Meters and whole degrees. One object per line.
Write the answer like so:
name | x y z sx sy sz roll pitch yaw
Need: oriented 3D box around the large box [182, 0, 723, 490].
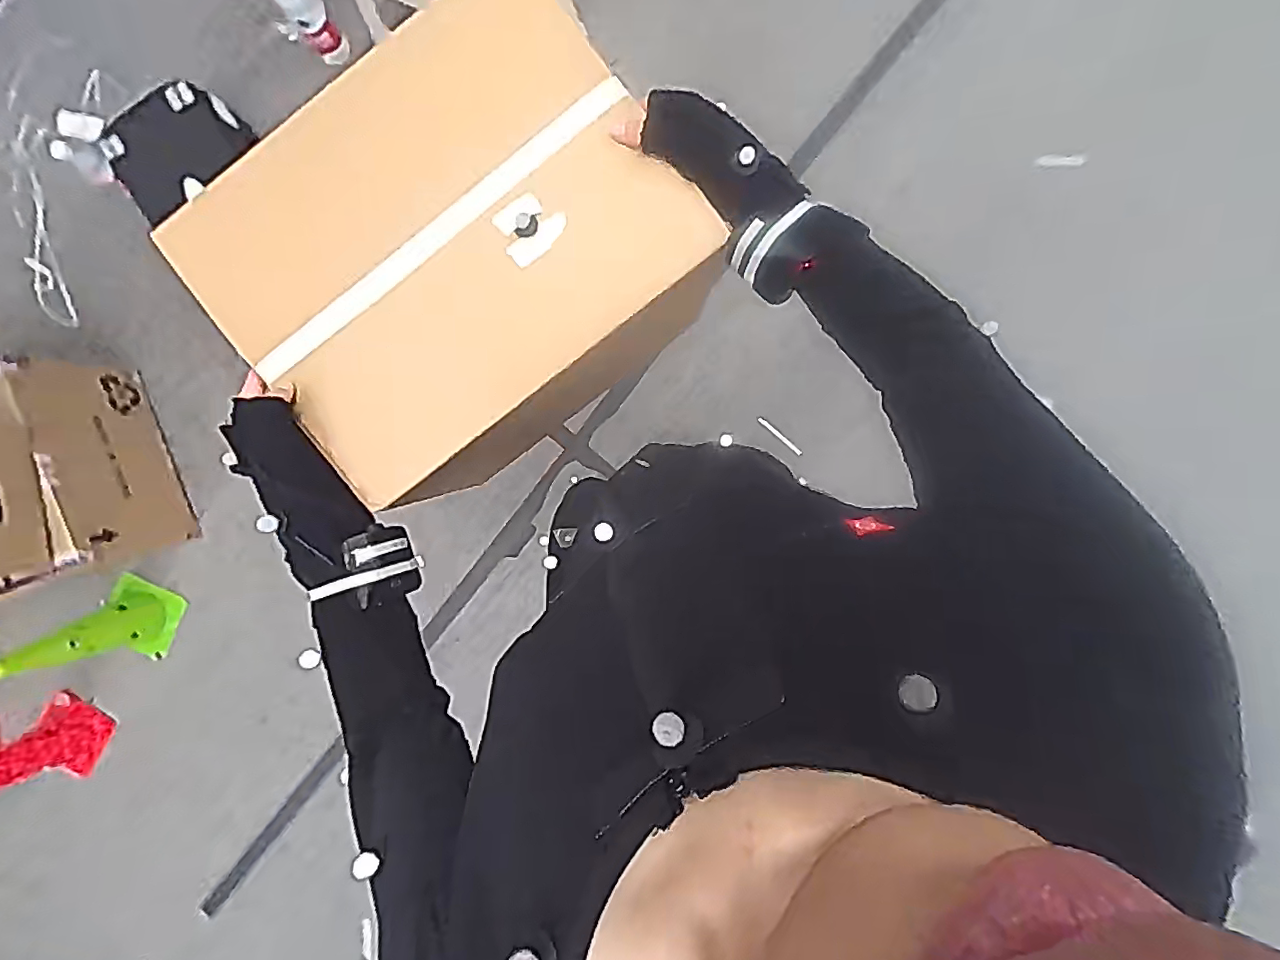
large box | -0.168 -0.234 0.630 0.408 0.320 0.320 -36 93 3
